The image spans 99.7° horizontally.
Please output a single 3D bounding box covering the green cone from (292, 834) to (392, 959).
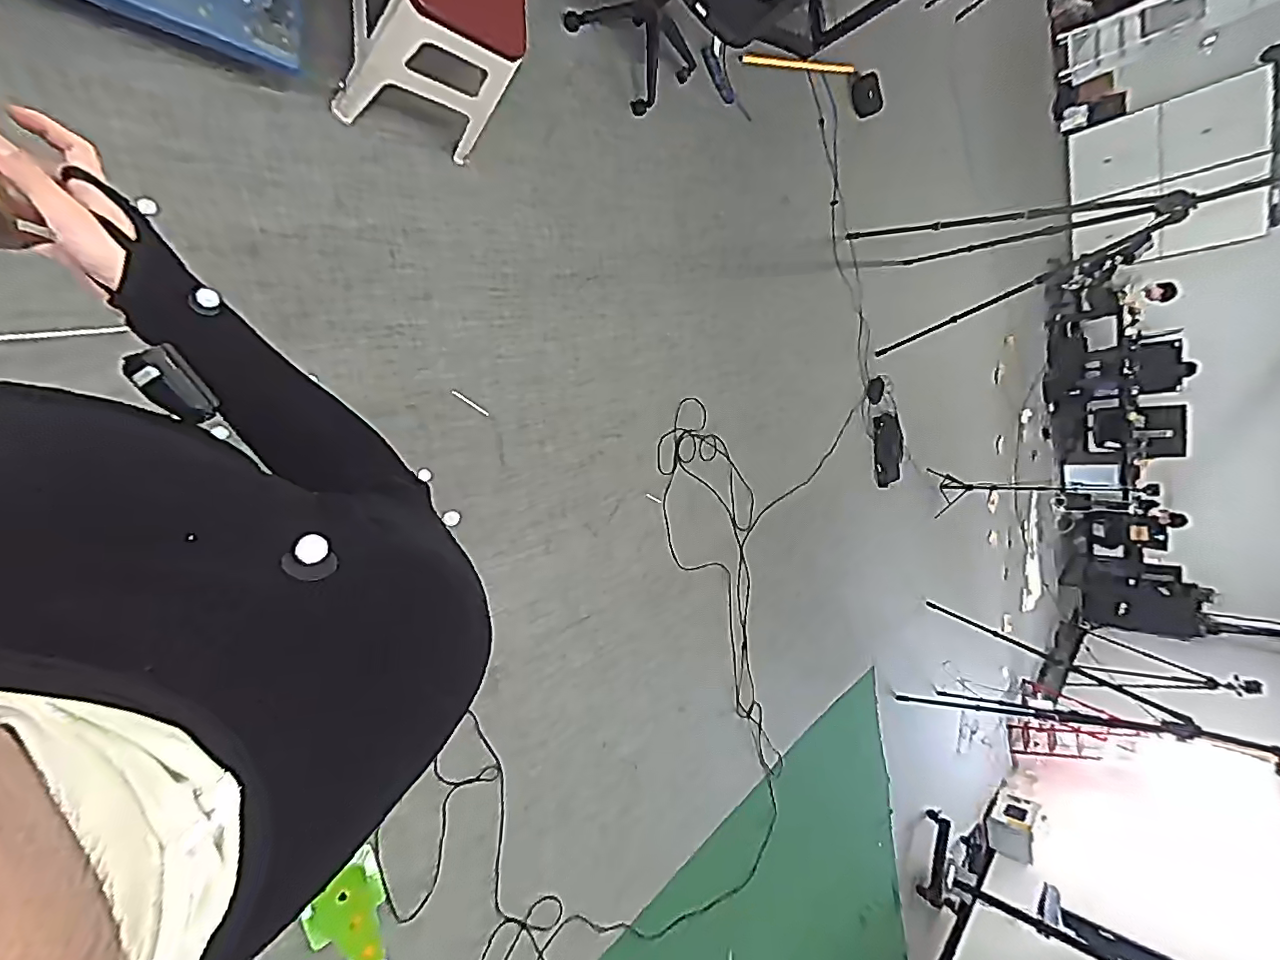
[{"bbox_3d":[-0.732,1.146,1.403,0.202,0.368,0.200,-22,106,-41],"label":"green cone"}]

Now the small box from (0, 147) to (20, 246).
[{"bbox_3d":[-0.536,-0.263,0.333,0.168,0.176,0.179,-15,103,-41],"label":"small box"}]
